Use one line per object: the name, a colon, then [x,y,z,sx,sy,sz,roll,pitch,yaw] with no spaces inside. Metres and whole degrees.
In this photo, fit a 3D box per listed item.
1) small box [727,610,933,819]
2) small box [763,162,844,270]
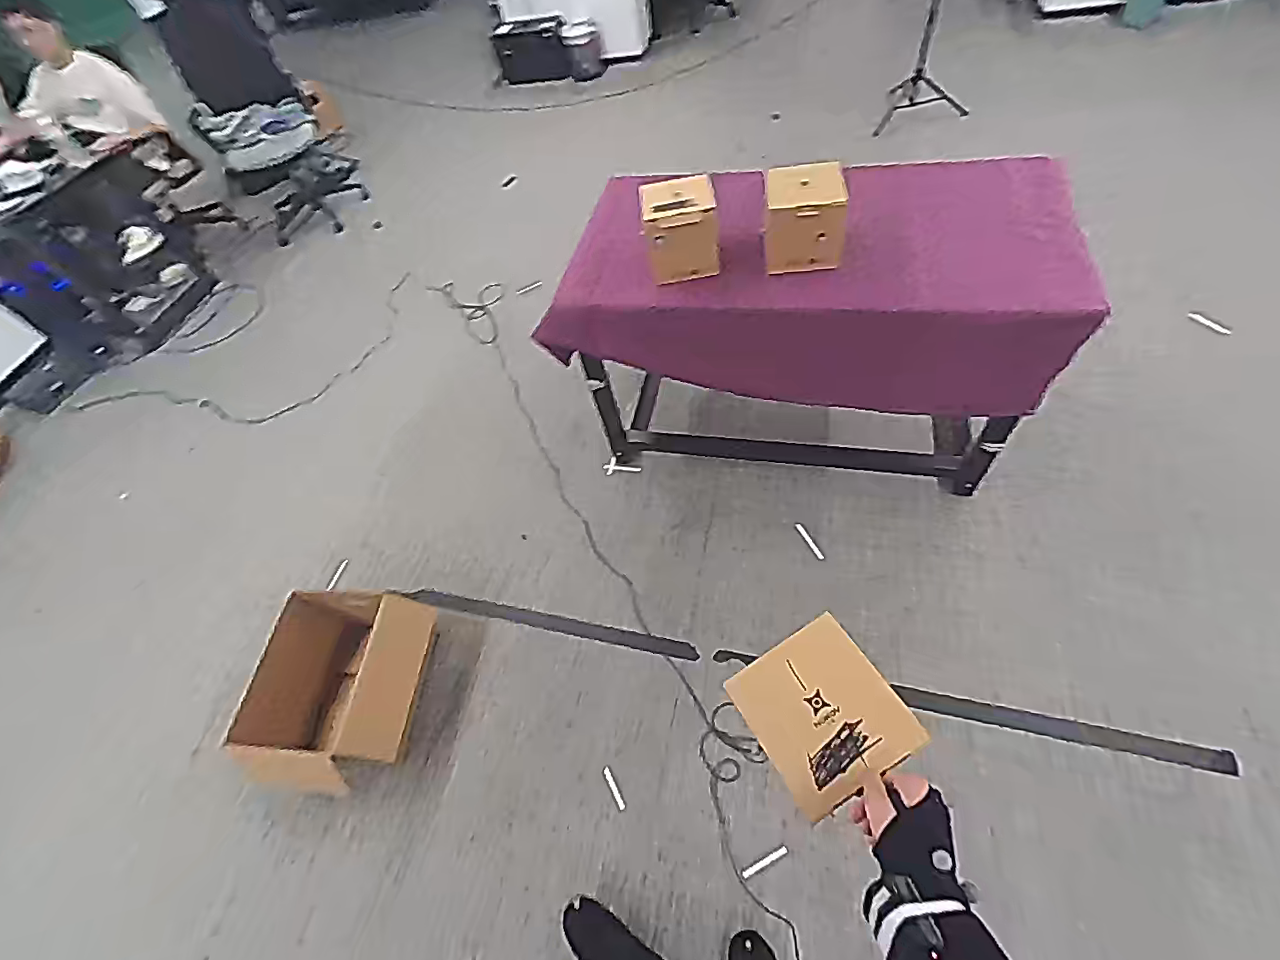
small box: [0.236,0.302,0.700,0.168,0.176,0.179,-32,57,-3]
small box: [0.380,-0.617,1.282,0.168,0.176,0.179,-1,56,10]
